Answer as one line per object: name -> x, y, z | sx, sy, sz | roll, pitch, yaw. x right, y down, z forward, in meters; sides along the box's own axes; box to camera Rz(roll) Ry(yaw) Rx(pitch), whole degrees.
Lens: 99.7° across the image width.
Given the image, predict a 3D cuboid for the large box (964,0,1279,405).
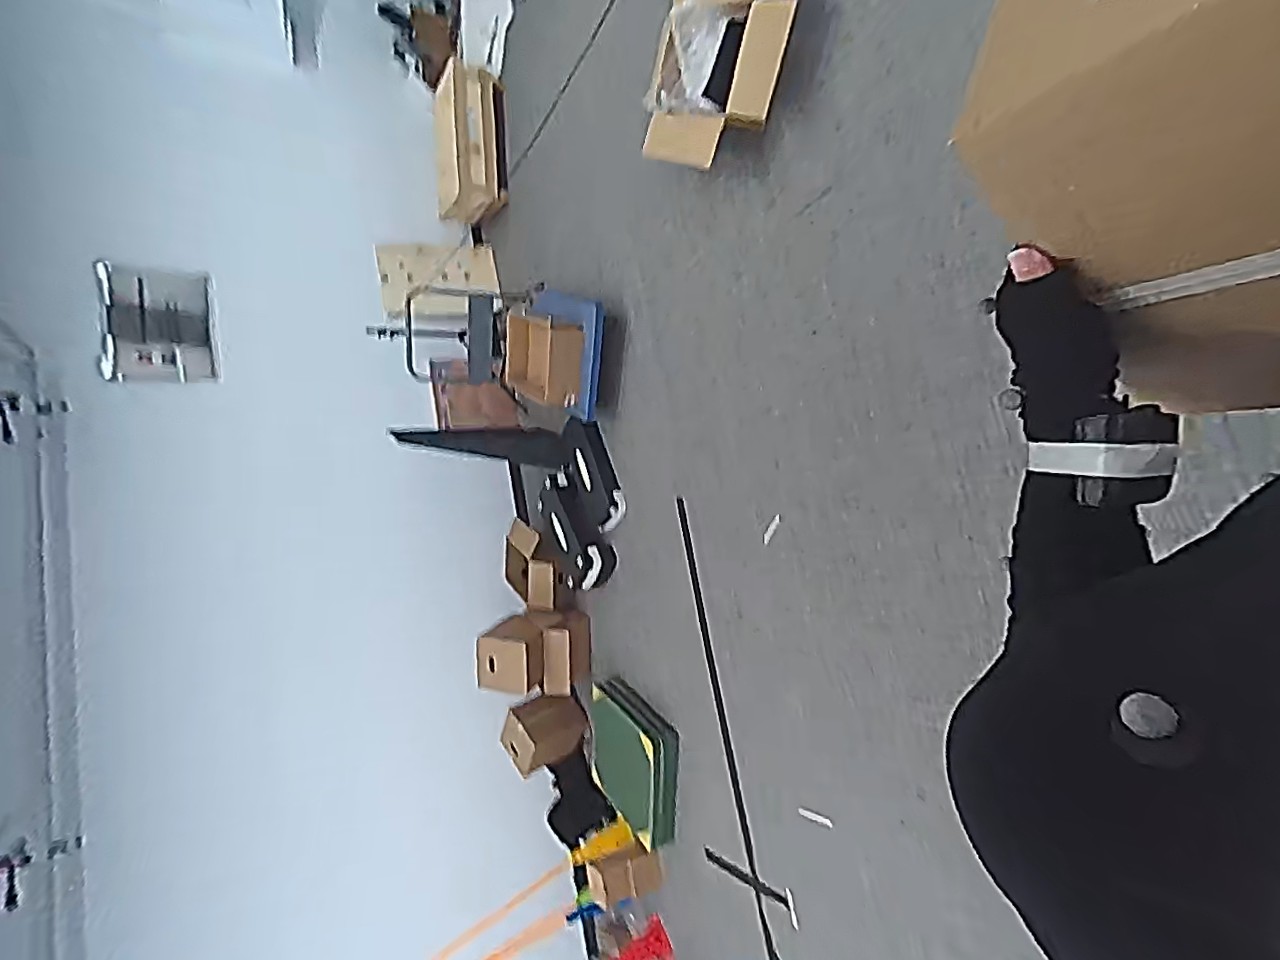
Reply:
large box -> 0.450, -0.261, 0.234 | 0.408, 0.320, 0.320 | 1, 65, 59
